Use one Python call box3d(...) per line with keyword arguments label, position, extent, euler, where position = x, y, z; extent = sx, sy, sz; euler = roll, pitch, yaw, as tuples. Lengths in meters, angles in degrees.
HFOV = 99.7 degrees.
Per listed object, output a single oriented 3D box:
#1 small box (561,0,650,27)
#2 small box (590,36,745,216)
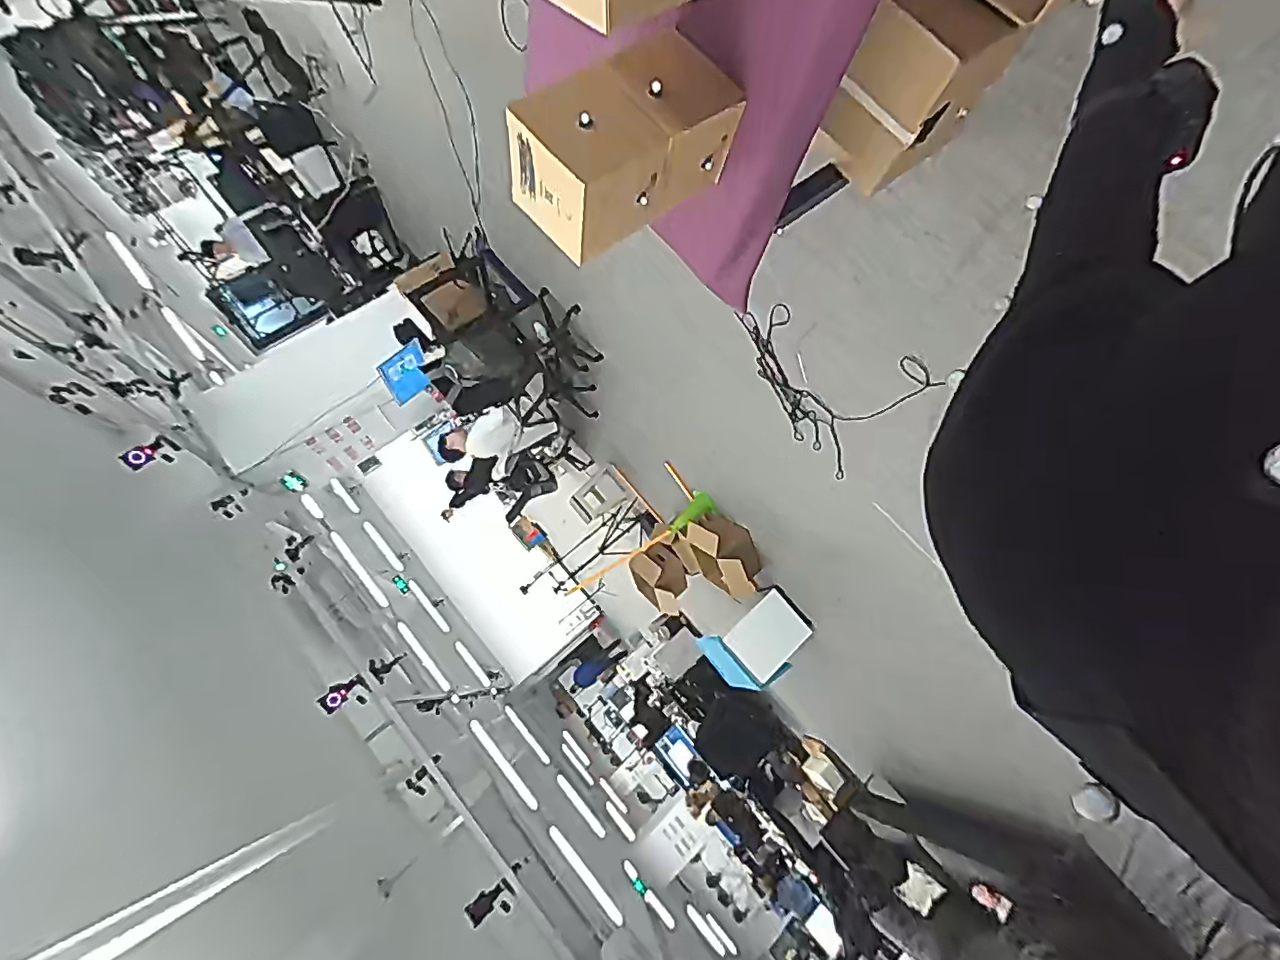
box3d(label="small box", position=(-0.024, -0.589, 0.517), extent=(0.179, 0.176, 0.168), euler=(46, 162, 19))
box3d(label="small box", position=(0.040, -0.590, 0.899), extent=(0.179, 0.176, 0.168), euler=(48, 161, 8))
